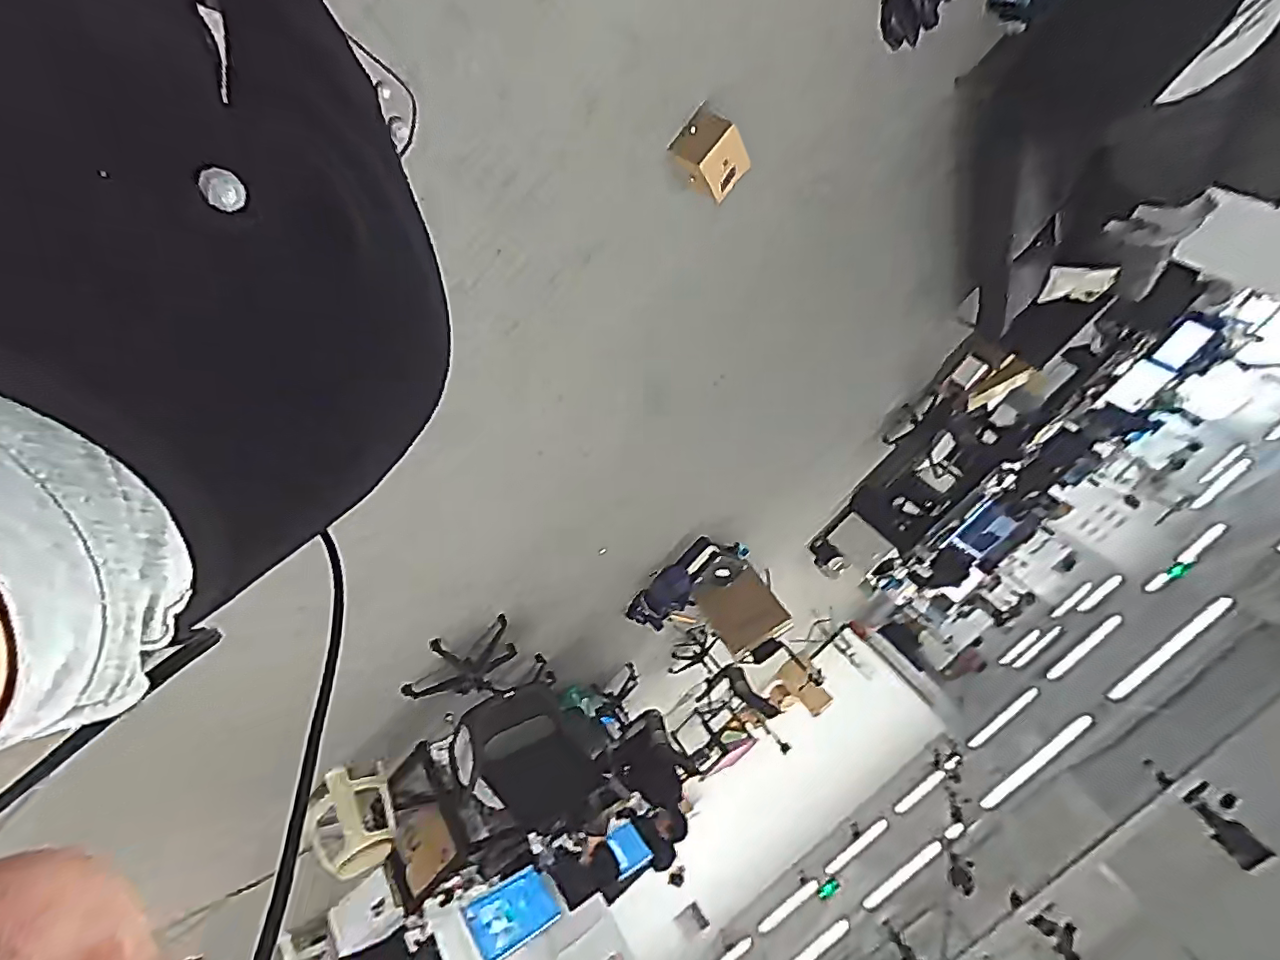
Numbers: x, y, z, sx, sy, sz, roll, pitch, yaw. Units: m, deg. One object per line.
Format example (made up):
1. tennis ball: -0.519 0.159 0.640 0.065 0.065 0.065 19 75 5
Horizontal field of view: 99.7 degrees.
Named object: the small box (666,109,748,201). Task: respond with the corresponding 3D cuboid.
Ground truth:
1. small box: 0.217 -1.059 1.757 0.168 0.176 0.179 -48 149 9
